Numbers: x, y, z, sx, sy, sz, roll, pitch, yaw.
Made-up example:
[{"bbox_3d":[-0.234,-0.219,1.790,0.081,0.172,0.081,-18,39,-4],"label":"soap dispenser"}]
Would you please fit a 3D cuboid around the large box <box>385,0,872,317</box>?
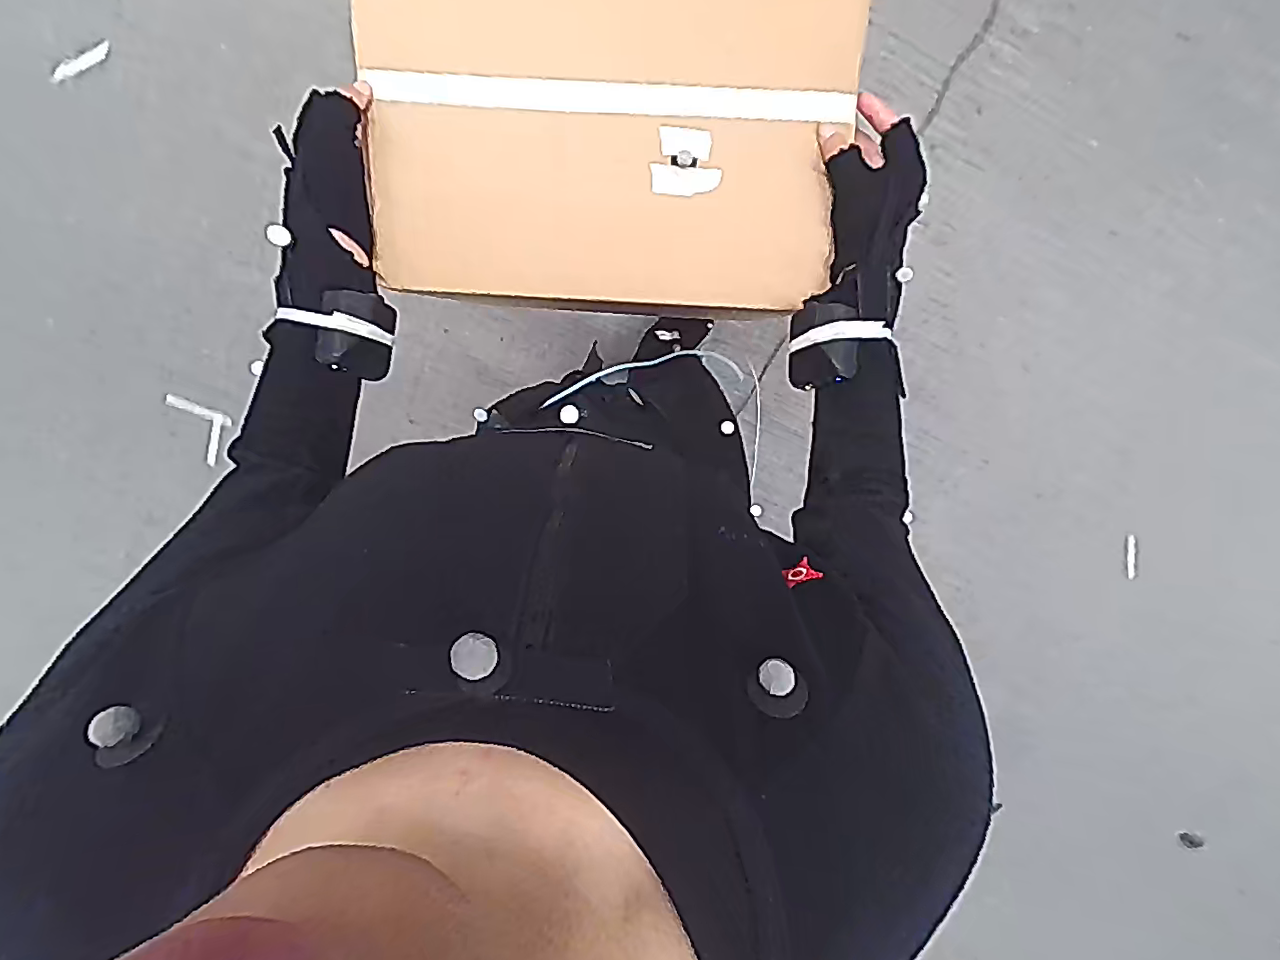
[{"bbox_3d":[-0.016,-0.357,0.601,0.408,0.320,0.320,4,106,-1],"label":"large box"}]
